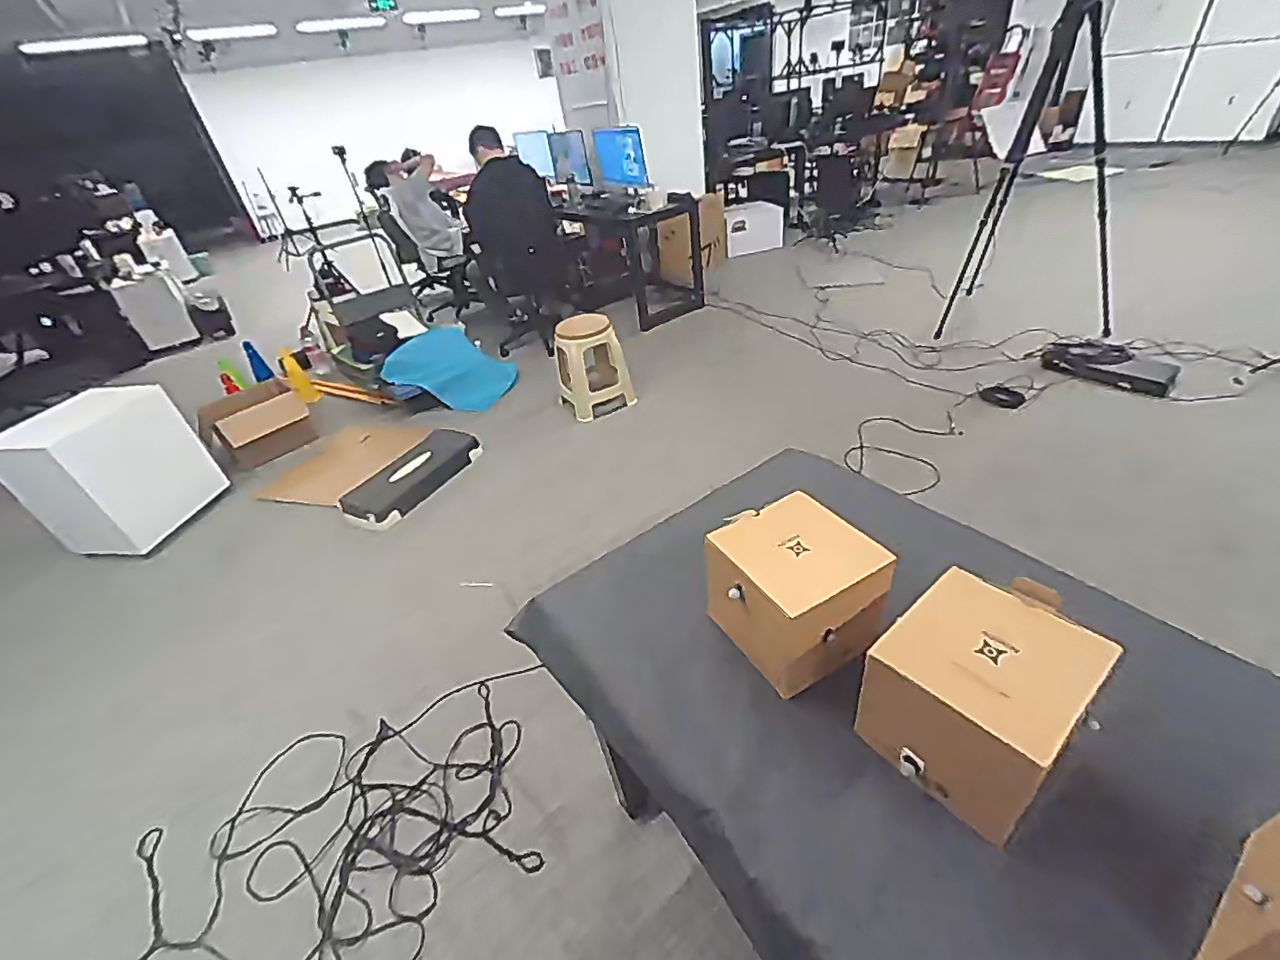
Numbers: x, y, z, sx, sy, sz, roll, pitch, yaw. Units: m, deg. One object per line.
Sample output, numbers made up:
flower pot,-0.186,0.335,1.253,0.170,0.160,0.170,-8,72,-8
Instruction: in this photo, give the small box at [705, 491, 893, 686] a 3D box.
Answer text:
small box,0.208,0.150,0.736,0.168,0.176,0.179,-23,37,-19

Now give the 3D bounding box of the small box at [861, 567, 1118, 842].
small box,0.361,0.234,0.586,0.179,0.176,0.168,-30,39,-28
